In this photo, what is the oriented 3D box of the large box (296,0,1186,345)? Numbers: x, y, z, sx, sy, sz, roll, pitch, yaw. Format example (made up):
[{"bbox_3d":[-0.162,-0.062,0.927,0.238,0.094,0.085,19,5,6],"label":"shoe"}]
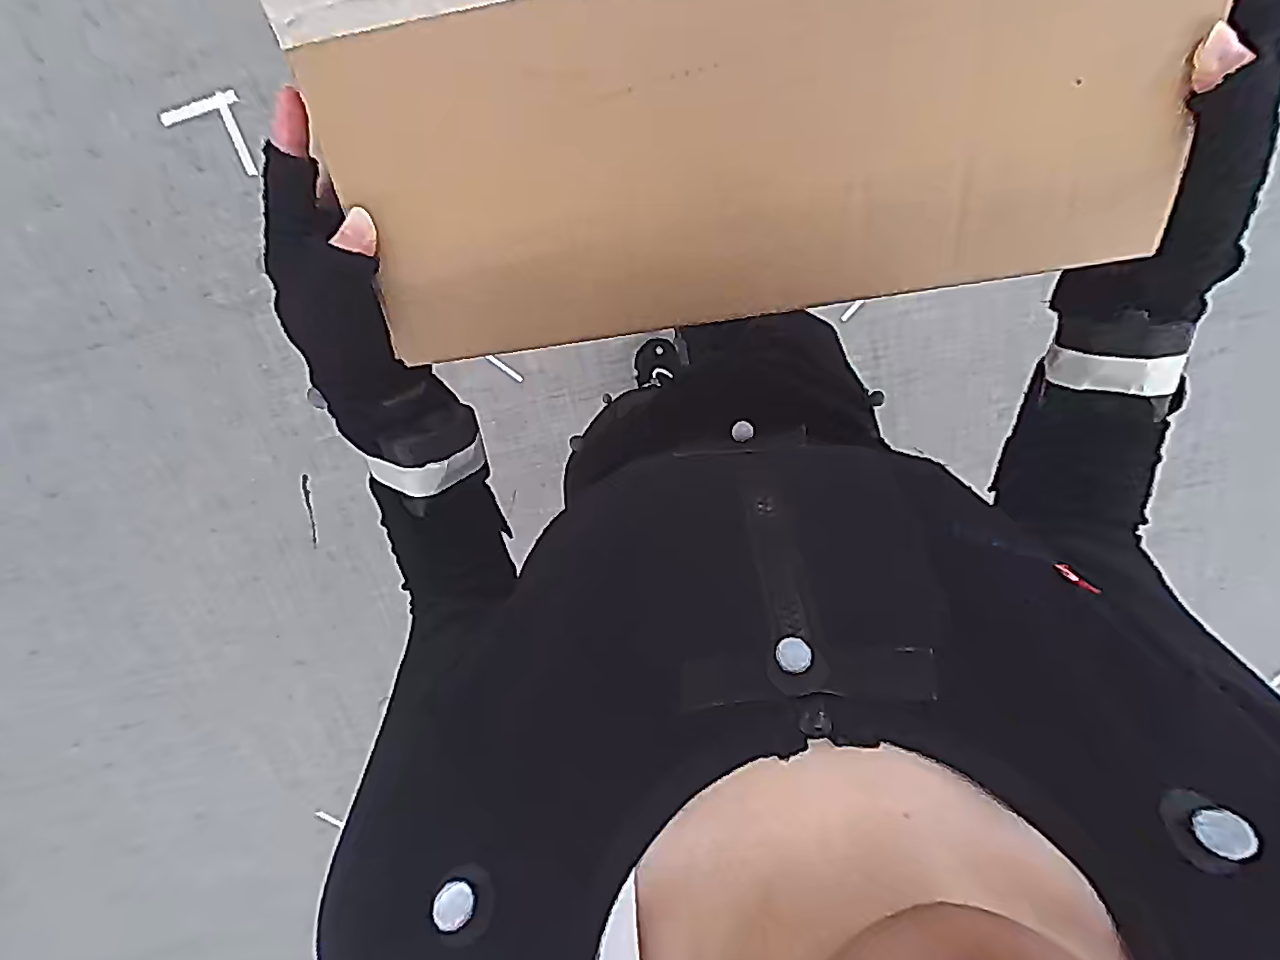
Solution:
[{"bbox_3d":[0.038,-0.308,0.363,0.408,0.320,0.320,-8,119,5],"label":"large box"}]
